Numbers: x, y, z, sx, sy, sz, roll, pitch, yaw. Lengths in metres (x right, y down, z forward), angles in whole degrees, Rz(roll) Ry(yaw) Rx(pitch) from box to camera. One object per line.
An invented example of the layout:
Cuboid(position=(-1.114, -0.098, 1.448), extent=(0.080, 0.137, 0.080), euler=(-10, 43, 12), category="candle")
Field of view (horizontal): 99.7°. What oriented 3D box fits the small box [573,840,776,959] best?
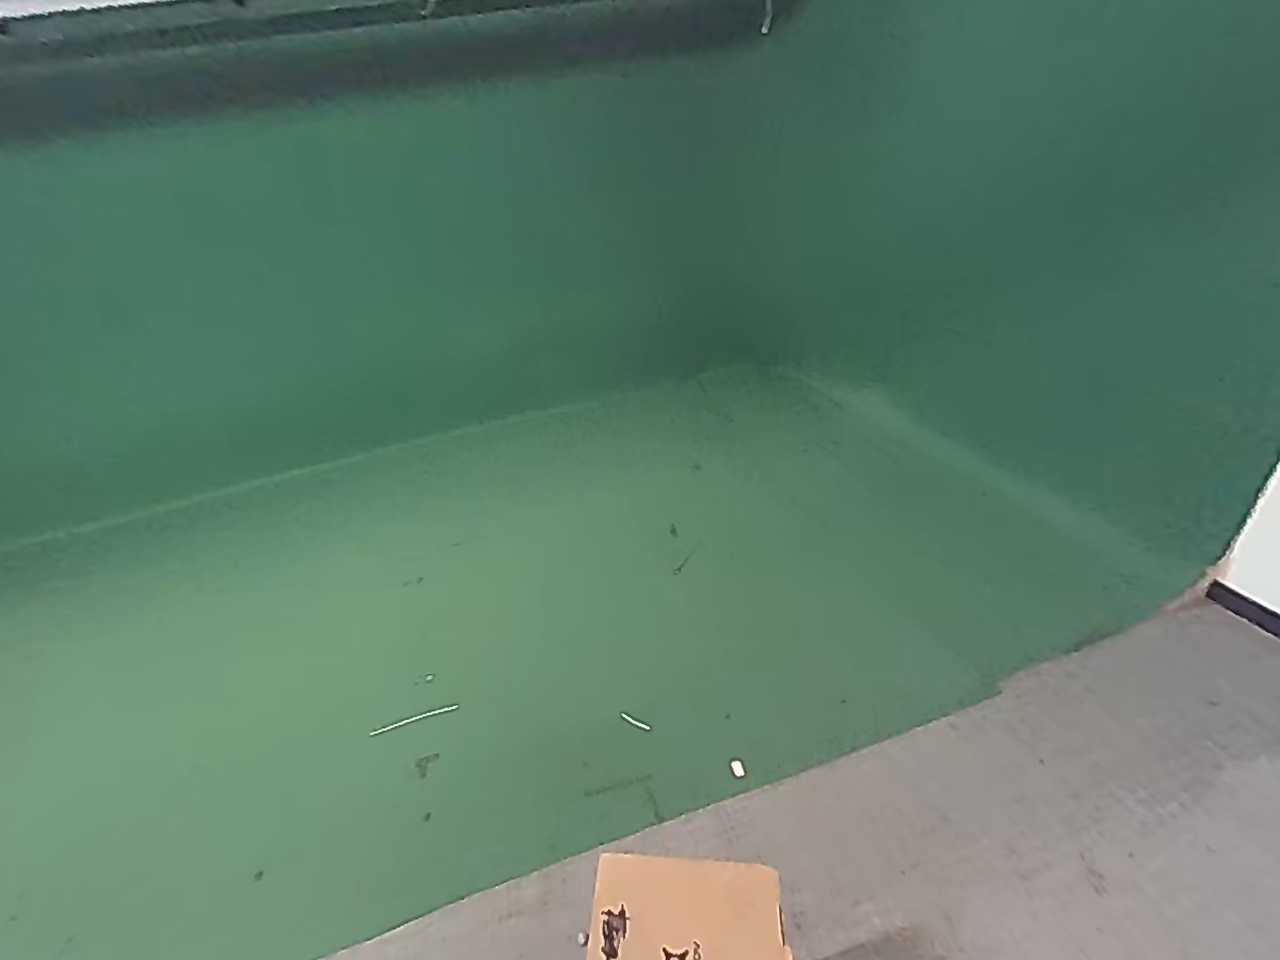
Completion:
Cuboid(position=(0.031, 0.473, 0.509), extent=(0.179, 0.176, 0.168), euler=(2, 35, 5), category="small box")
